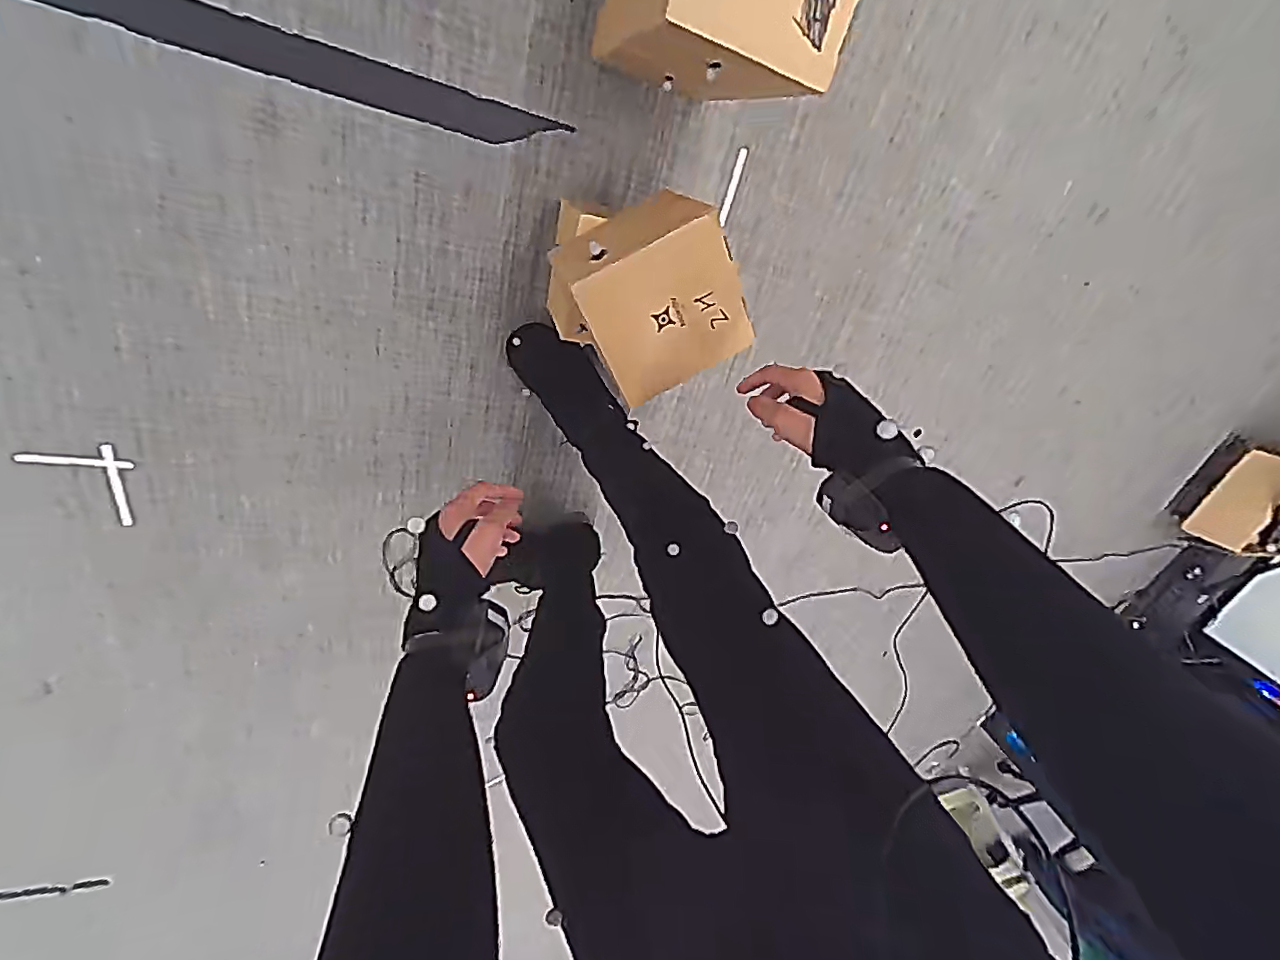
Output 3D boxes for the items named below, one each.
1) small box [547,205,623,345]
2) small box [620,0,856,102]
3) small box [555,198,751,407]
[{"bbox_3d":[-0.037,-0.302,0.812,0.179,0.176,0.168,2,122,-20],"label":"small box"},{"bbox_3d":[0.098,-0.491,0.523,0.179,0.176,0.168,7,119,-22],"label":"small box"},{"bbox_3d":[0.007,-0.226,0.673,0.179,0.176,0.168,-29,127,0],"label":"small box"}]
